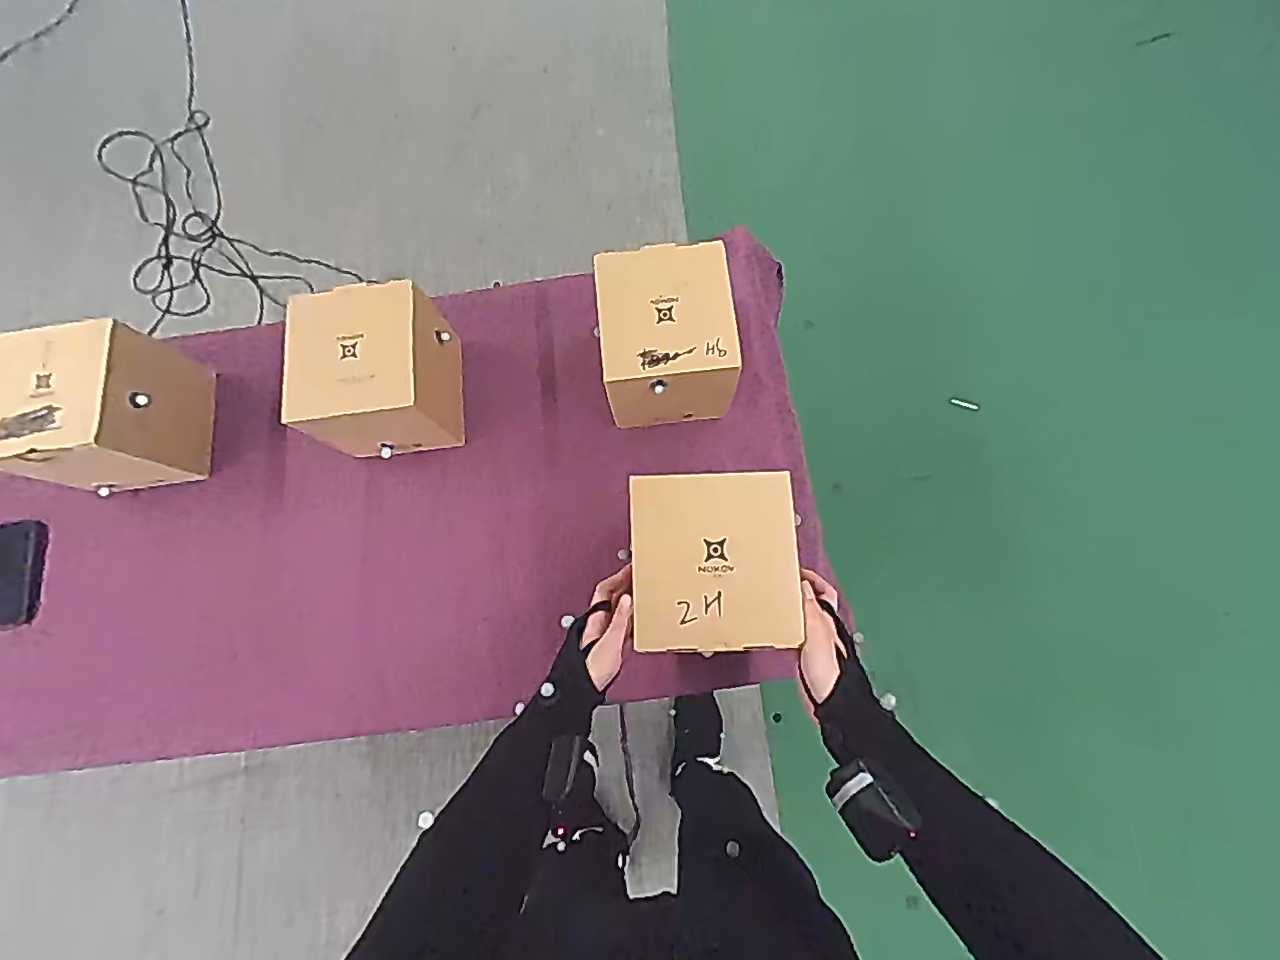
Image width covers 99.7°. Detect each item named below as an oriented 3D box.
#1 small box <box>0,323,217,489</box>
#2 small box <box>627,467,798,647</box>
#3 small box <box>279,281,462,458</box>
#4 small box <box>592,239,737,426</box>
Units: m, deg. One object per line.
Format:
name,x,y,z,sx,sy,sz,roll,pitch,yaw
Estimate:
small box,-0.737,-0.090,0.755,0.168,0.176,0.179,-8,76,2
small box,0.069,0.091,0.611,0.168,0.176,0.179,-2,78,1
small box,-0.356,-0.142,0.746,0.168,0.176,0.179,-7,77,3
small box,0.031,-0.189,0.730,0.168,0.176,0.179,-6,76,3
